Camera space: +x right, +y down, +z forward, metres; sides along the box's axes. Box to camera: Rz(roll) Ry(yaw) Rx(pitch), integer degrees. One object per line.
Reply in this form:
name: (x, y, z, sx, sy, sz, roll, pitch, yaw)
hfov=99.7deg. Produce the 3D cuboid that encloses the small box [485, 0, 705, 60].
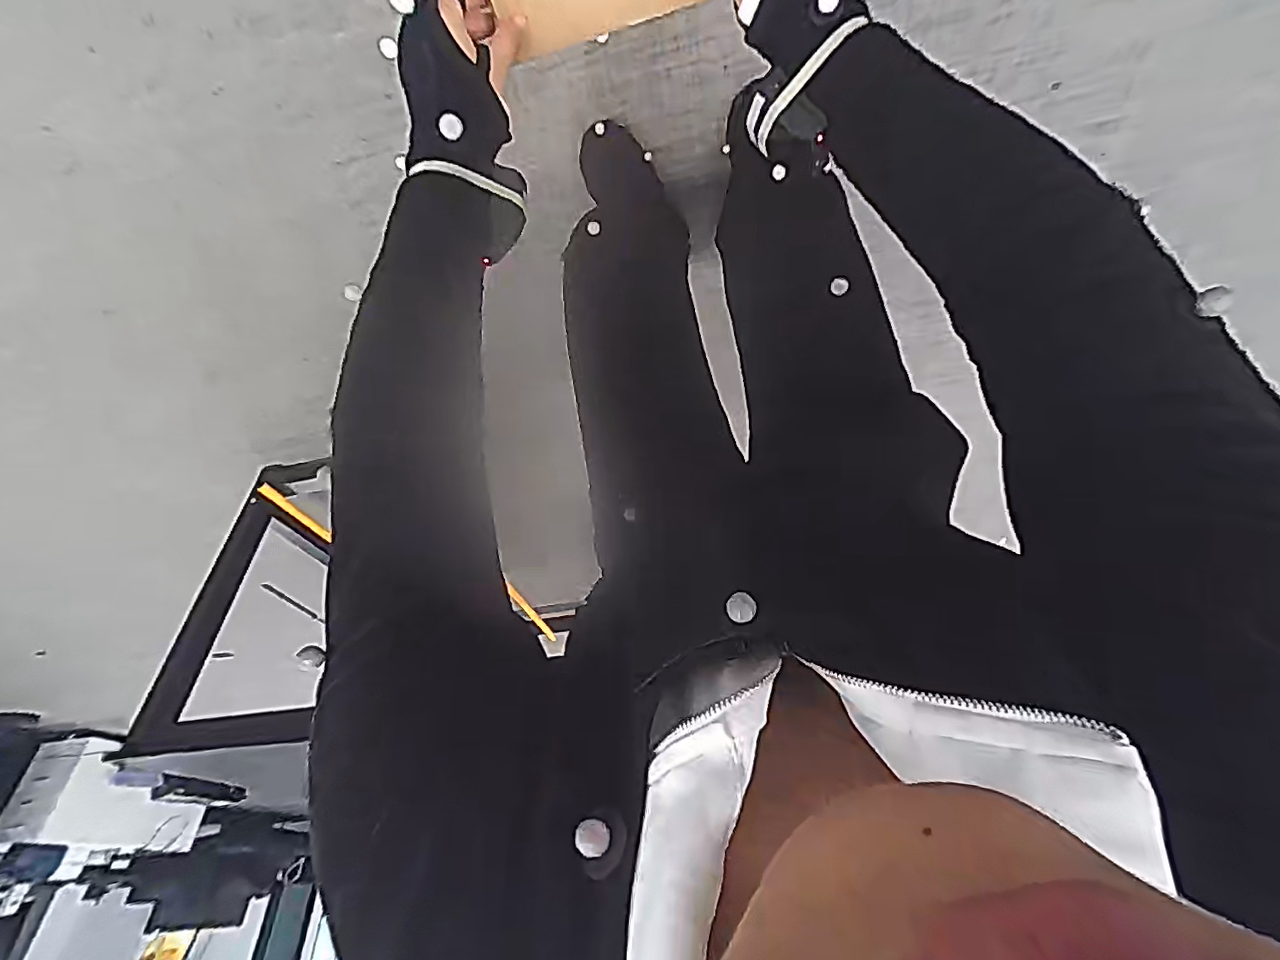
small box: (-0.045, -0.464, 0.412, 0.179, 0.176, 0.168, -10, 142, 11)
